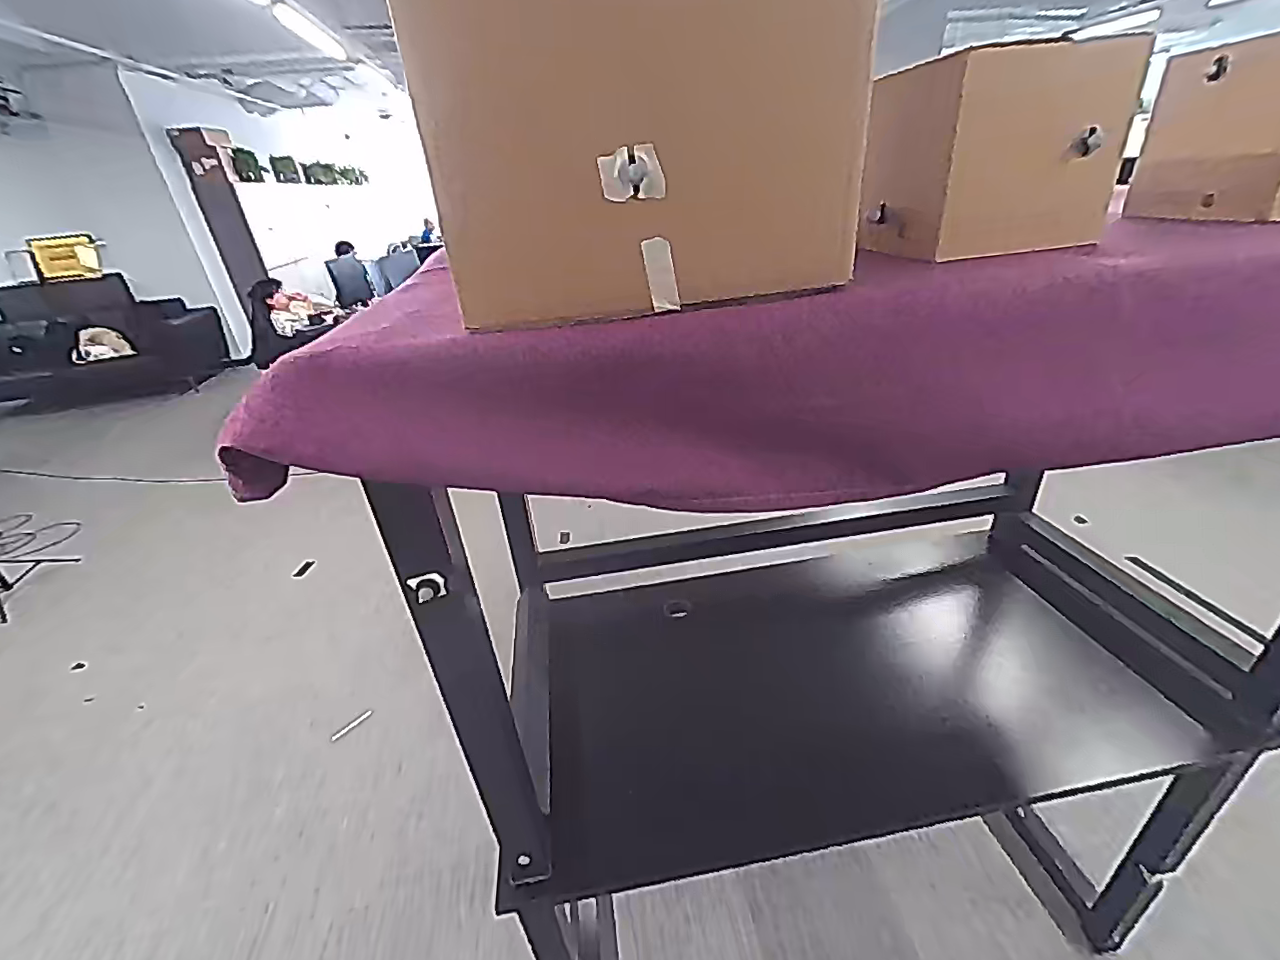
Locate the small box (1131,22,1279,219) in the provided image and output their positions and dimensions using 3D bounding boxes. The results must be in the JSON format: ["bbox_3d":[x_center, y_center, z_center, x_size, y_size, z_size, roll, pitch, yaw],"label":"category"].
[{"bbox_3d":[0.693,-0.383,0.577,0.179,0.176,0.168,-7,28,-4],"label":"small box"}]

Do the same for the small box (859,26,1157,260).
[{"bbox_3d":[0.343,-0.330,0.549,0.179,0.176,0.168,-9,28,-5],"label":"small box"}]

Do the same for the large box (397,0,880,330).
[{"bbox_3d":[-0.026,-0.350,0.512,0.320,0.320,0.408,-9,28,-8],"label":"large box"}]
